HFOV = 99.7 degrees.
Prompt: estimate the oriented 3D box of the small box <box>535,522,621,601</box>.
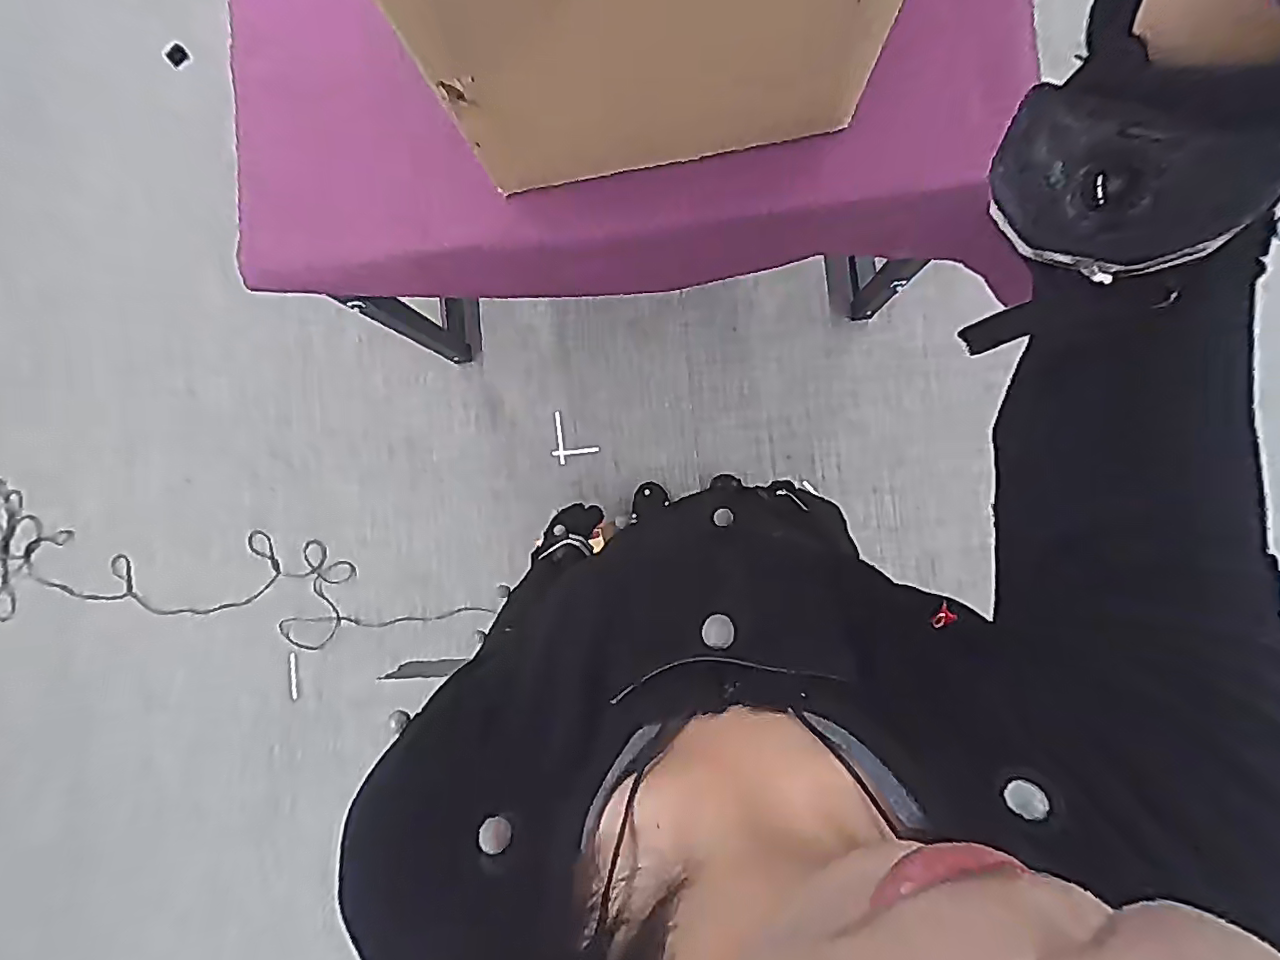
[{"bbox_3d":[-0.162,0.213,1.456,0.179,0.176,0.168,-15,88,4],"label":"small box"}]
